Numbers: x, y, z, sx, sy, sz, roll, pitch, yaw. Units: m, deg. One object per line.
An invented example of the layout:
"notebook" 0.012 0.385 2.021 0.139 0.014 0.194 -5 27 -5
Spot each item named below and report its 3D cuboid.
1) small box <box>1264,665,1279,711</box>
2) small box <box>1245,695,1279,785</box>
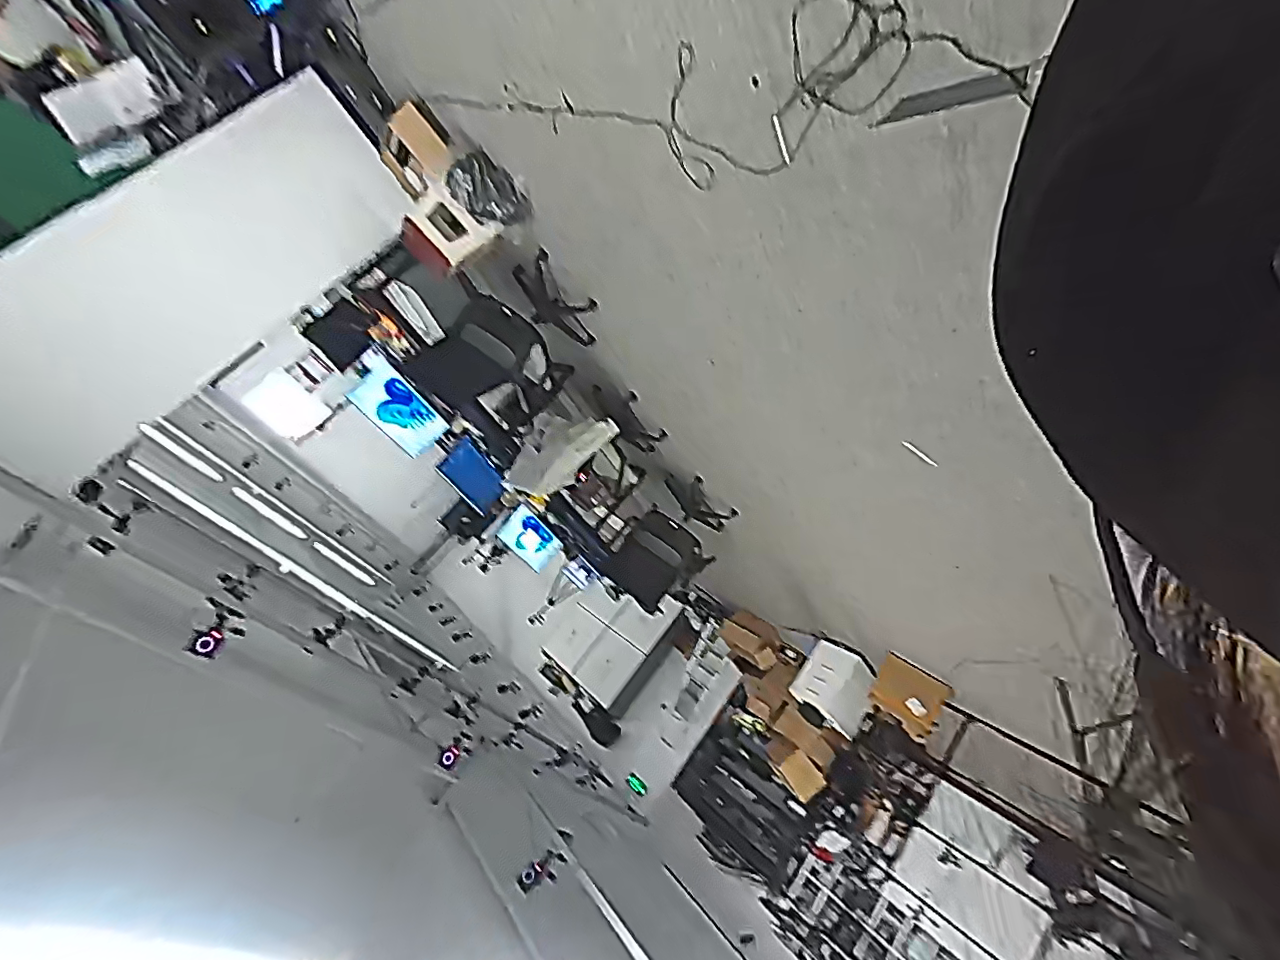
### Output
"small box" 1.690 0.512 1.316 0.168 0.176 0.179 24 157 43
"small box" 1.592 0.637 1.276 0.168 0.176 0.179 23 155 46
